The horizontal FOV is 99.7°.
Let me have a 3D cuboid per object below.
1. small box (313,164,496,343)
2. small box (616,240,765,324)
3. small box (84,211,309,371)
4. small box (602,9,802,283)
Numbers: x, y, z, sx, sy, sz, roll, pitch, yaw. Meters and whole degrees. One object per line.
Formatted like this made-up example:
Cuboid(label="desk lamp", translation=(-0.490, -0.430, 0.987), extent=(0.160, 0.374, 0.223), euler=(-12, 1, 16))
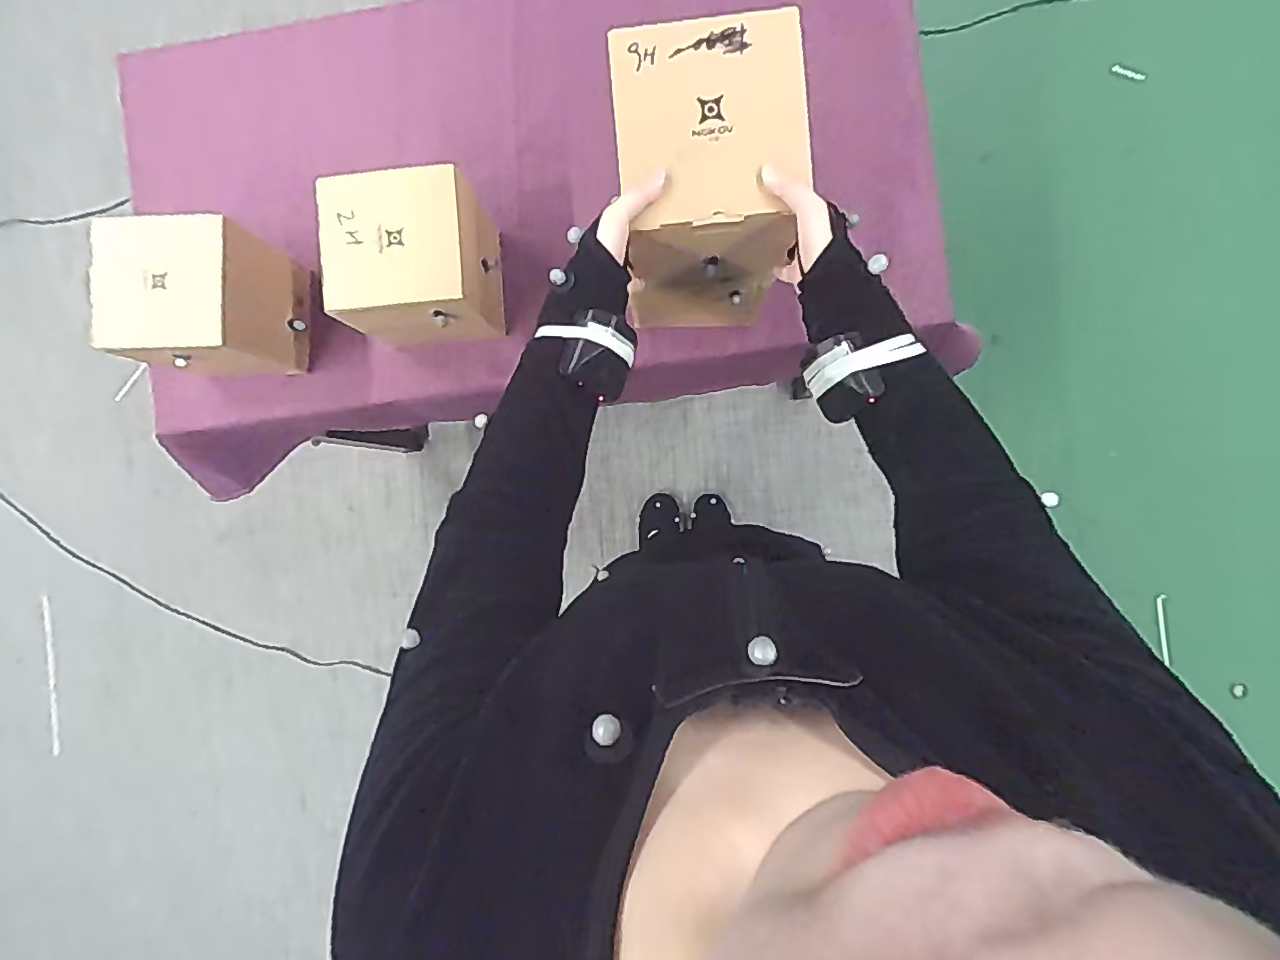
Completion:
Cuboid(label="small box", translation=(-0.301, -0.292, 0.729), extent=(0.179, 0.176, 0.168), euler=(-4, 88, 3))
Cuboid(label="small box", translation=(0.064, -0.310, 0.709), extent=(0.179, 0.176, 0.168), euler=(0, 89, 3))
Cuboid(label="small box", translation=(-0.598, -0.248, 0.748), extent=(0.179, 0.176, 0.168), euler=(0, 90, 3))
Cuboid(label="small box", translation=(0.058, -0.310, 0.544), extent=(0.168, 0.176, 0.179), euler=(-5, 92, 3))
